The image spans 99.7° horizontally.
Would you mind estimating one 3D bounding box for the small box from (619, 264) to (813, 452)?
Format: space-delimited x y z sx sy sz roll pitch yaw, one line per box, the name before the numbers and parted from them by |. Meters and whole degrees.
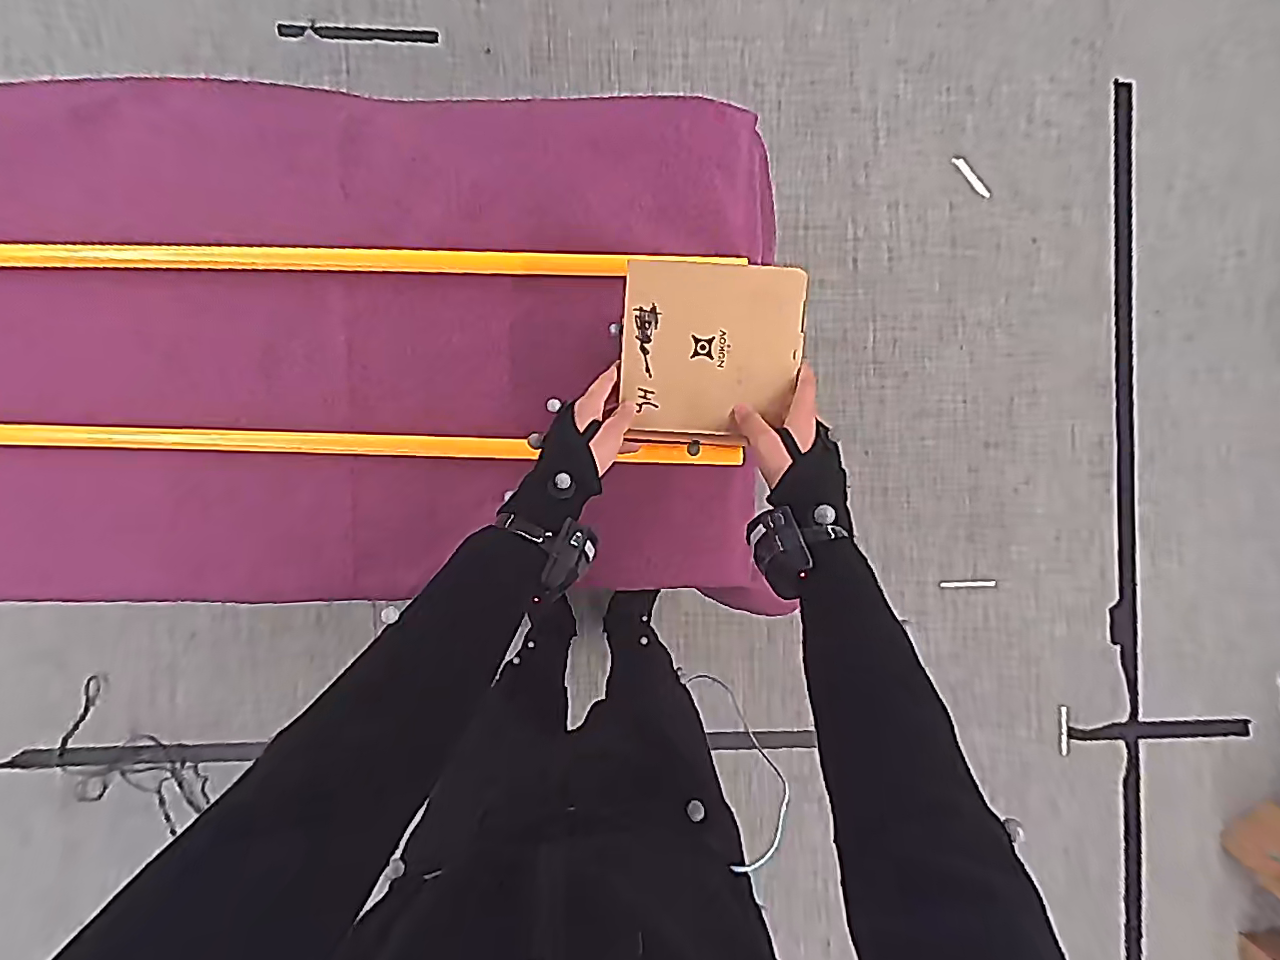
small box | 0.072 -0.120 0.596 0.179 0.176 0.168 4 91 0
